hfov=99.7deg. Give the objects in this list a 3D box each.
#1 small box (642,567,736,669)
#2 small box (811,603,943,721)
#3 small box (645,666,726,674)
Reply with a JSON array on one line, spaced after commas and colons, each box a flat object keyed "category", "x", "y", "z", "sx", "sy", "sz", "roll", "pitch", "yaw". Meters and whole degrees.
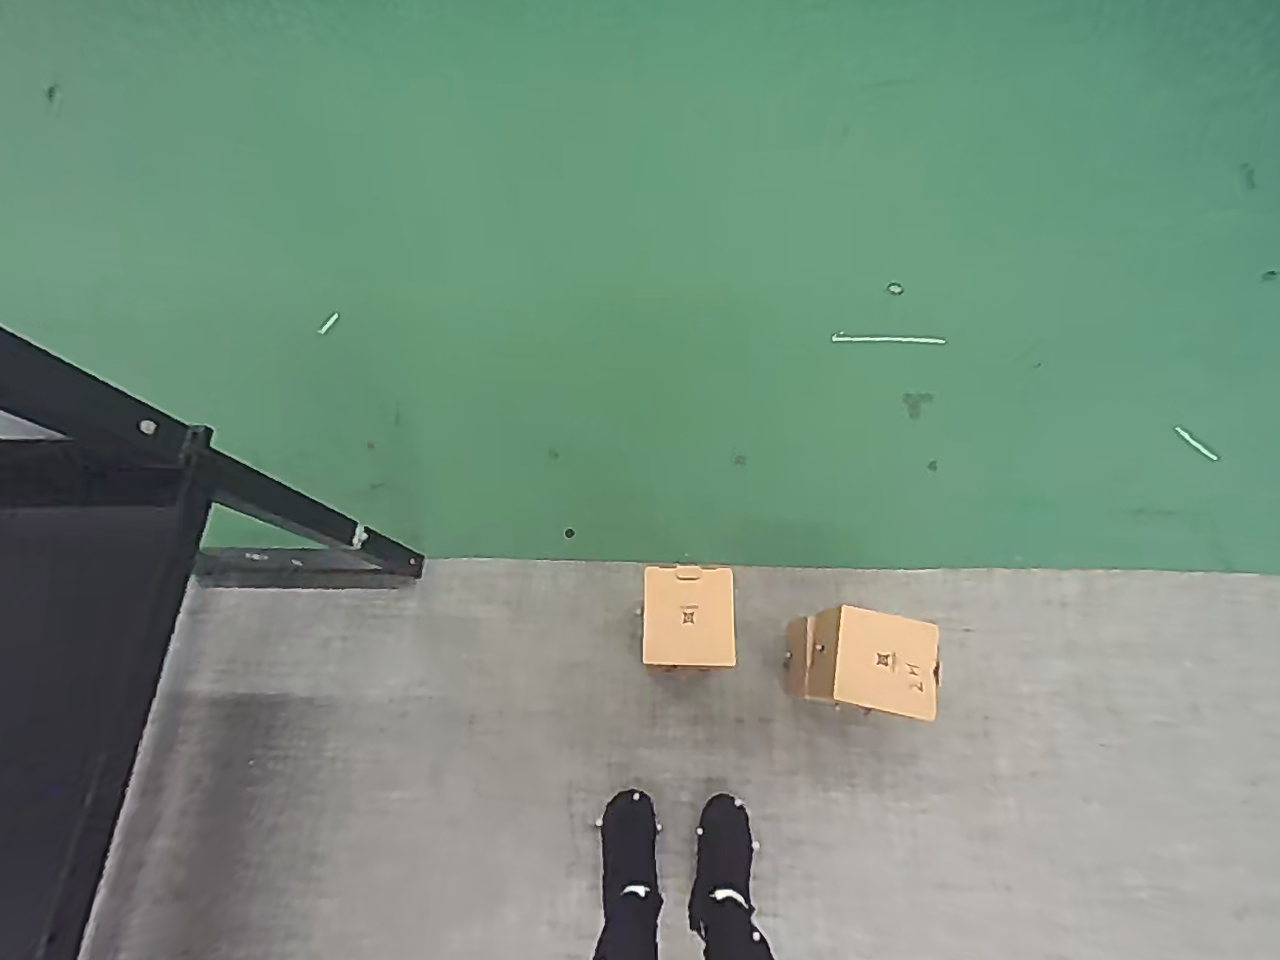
[{"category": "small box", "x": 0.091, "y": 0.269, "z": 1.040, "sx": 0.168, "sy": 0.176, "sz": 0.179, "roll": 0, "pitch": 69, "yaw": 2}, {"category": "small box", "x": 0.431, "y": 0.337, "z": 1.006, "sx": 0.179, "sy": 0.176, "sz": 0.168, "roll": 11, "pitch": 72, "yaw": 5}, {"category": "small box", "x": 0.095, "y": 0.333, "z": 1.190, "sx": 0.168, "sy": 0.176, "sz": 0.179, "roll": -1, "pitch": 70, "yaw": 1}]
